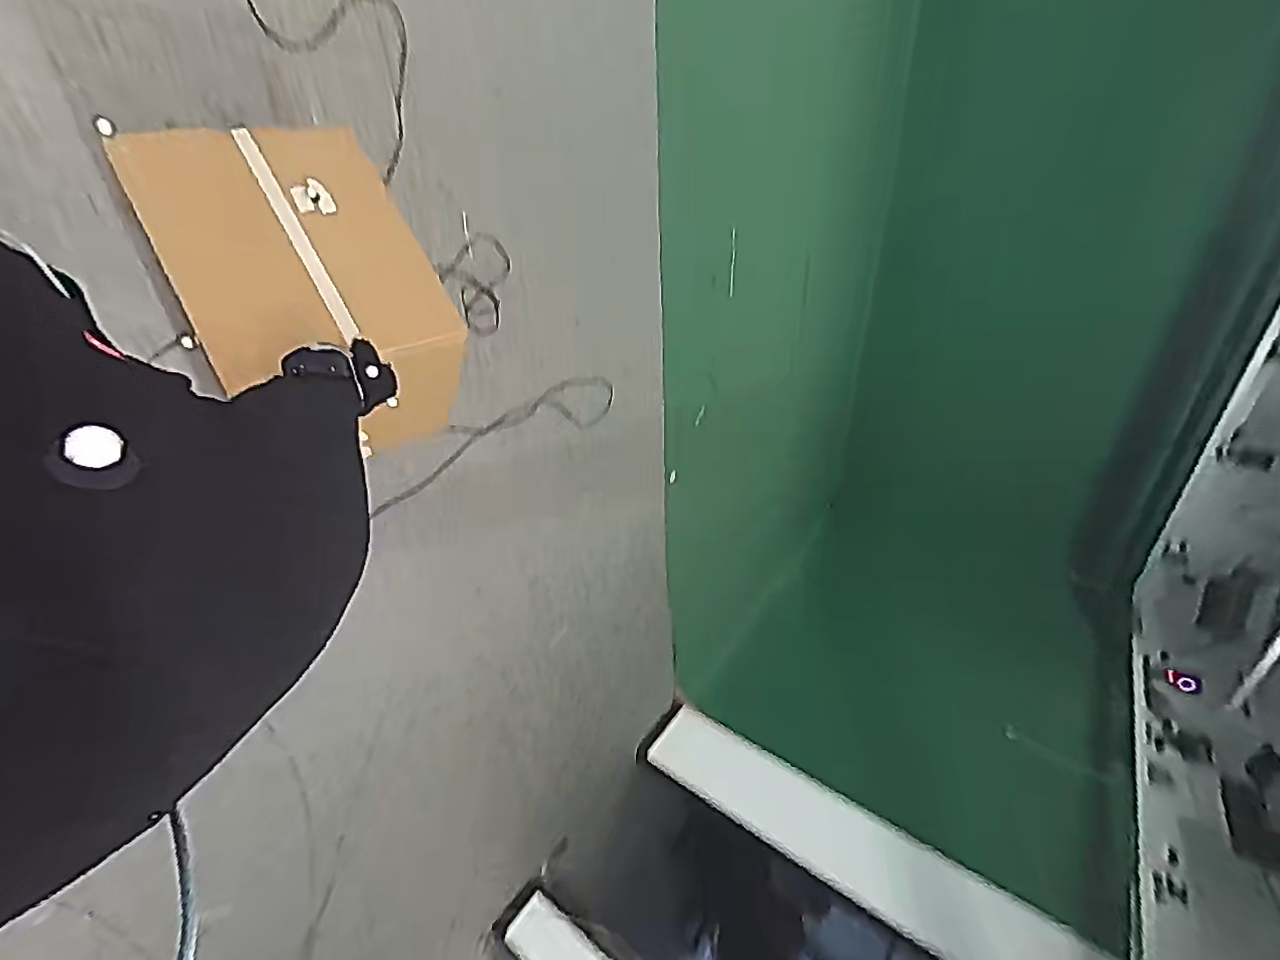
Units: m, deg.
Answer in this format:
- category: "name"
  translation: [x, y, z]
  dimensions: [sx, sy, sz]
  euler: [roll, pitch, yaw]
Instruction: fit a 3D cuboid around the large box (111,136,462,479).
- category: "large box"
  translation: [-0.542, -0.275, 0.891]
  dimensions: [0.320, 0.408, 0.320]
  euler: [-25, 170, -33]
